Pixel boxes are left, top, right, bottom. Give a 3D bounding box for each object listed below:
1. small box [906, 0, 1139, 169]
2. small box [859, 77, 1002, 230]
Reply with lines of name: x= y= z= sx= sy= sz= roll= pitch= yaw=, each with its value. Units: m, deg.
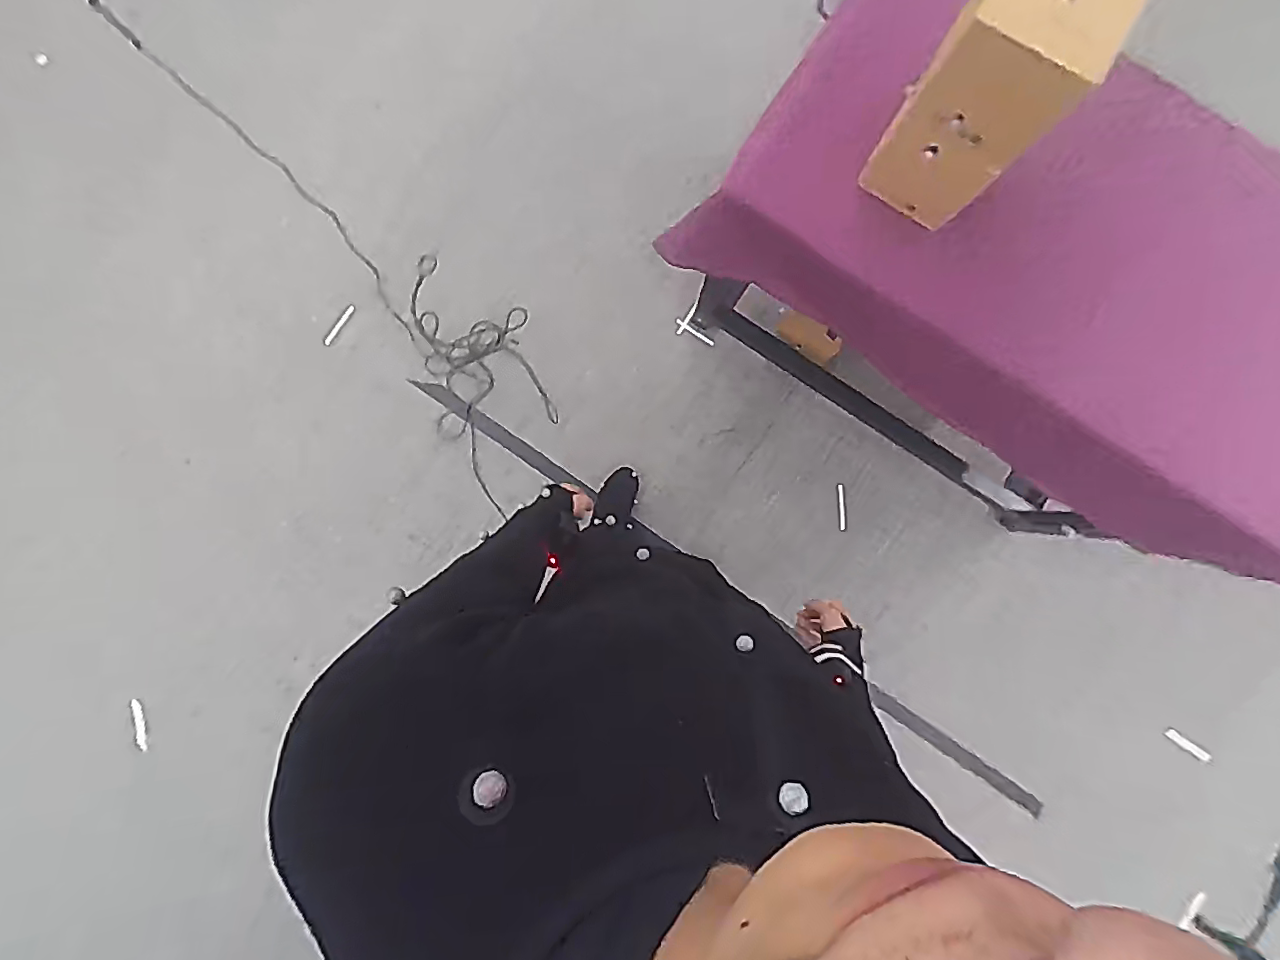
small box: x=0.486 y=-0.560 z=0.704 sx=0.168 sy=0.176 sz=0.179 roll=30 pitch=88 yaw=0
small box: x=0.486 y=-0.549 z=0.867 sx=0.168 sy=0.176 sz=0.179 roll=31 pitch=87 yaw=1
